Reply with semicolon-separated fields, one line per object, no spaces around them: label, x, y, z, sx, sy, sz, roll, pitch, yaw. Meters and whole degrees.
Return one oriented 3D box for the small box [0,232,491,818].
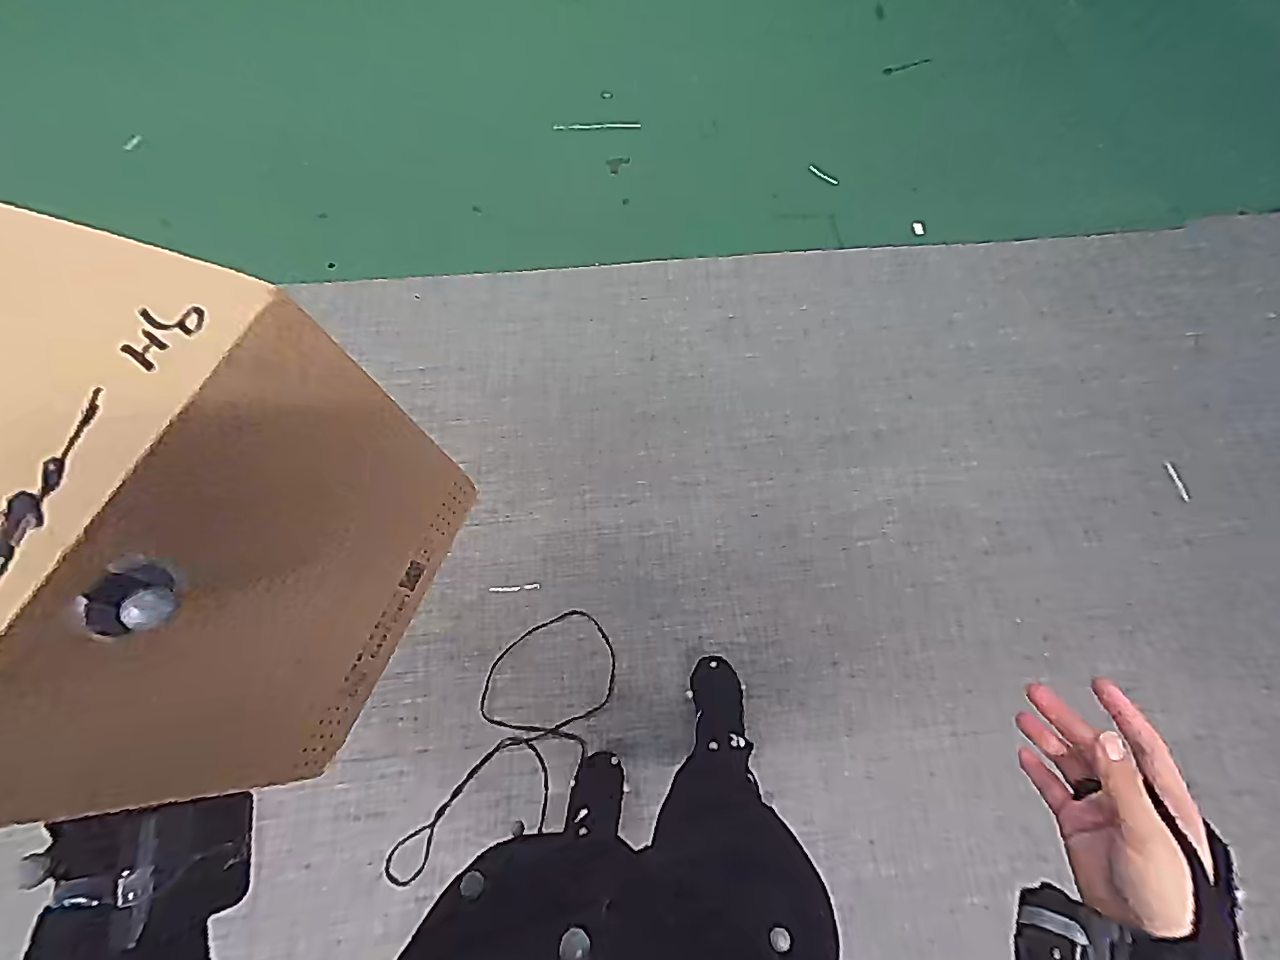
small box;-0.202;0.024;0.245;0.179;0.176;0.168;17;70;15
